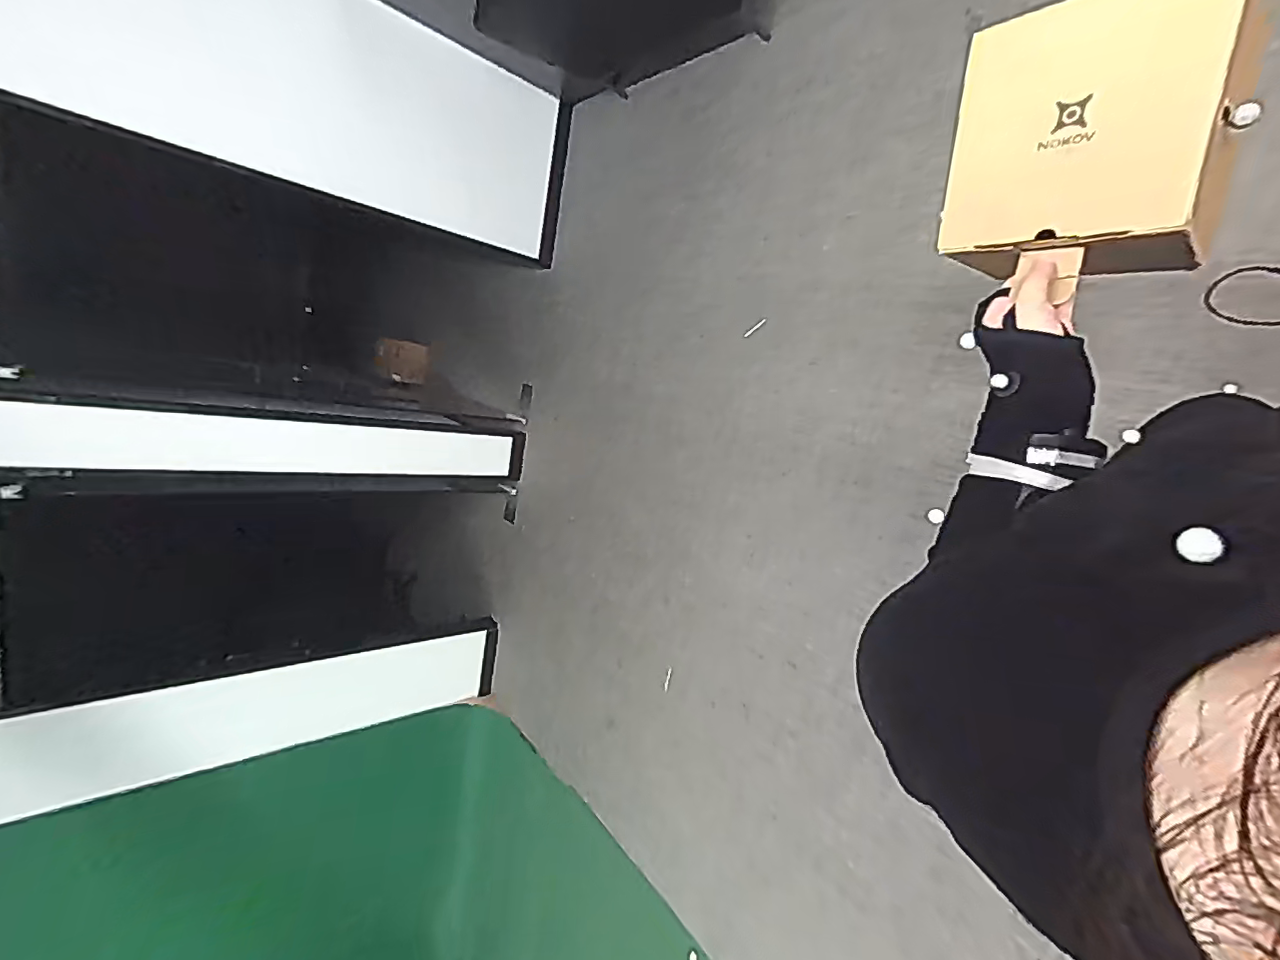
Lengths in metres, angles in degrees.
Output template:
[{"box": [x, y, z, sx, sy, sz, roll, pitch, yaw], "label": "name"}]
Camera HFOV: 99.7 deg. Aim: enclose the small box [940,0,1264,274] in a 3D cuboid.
[{"box": [0.392, -0.286, 0.468, 0.168, 0.176, 0.179, 18, 110, 45], "label": "small box"}]
